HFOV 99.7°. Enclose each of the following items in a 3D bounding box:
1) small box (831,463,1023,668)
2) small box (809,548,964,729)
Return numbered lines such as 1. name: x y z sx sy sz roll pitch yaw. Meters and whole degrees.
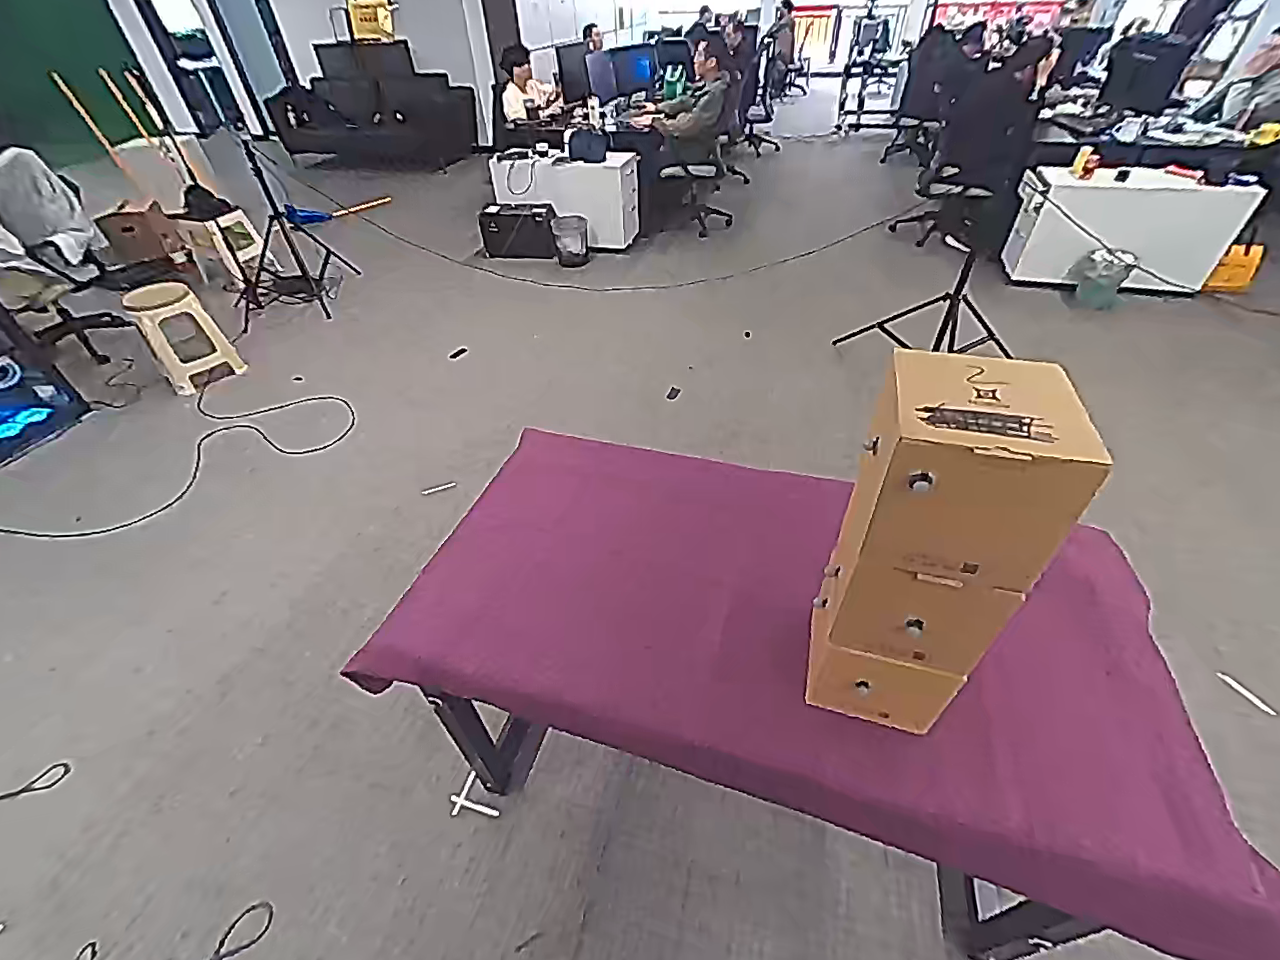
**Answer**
1. small box: 0.344 0.107 0.681 0.168 0.176 0.179 11 44 15
2. small box: 0.347 0.231 0.787 0.168 0.176 0.179 10 43 14
